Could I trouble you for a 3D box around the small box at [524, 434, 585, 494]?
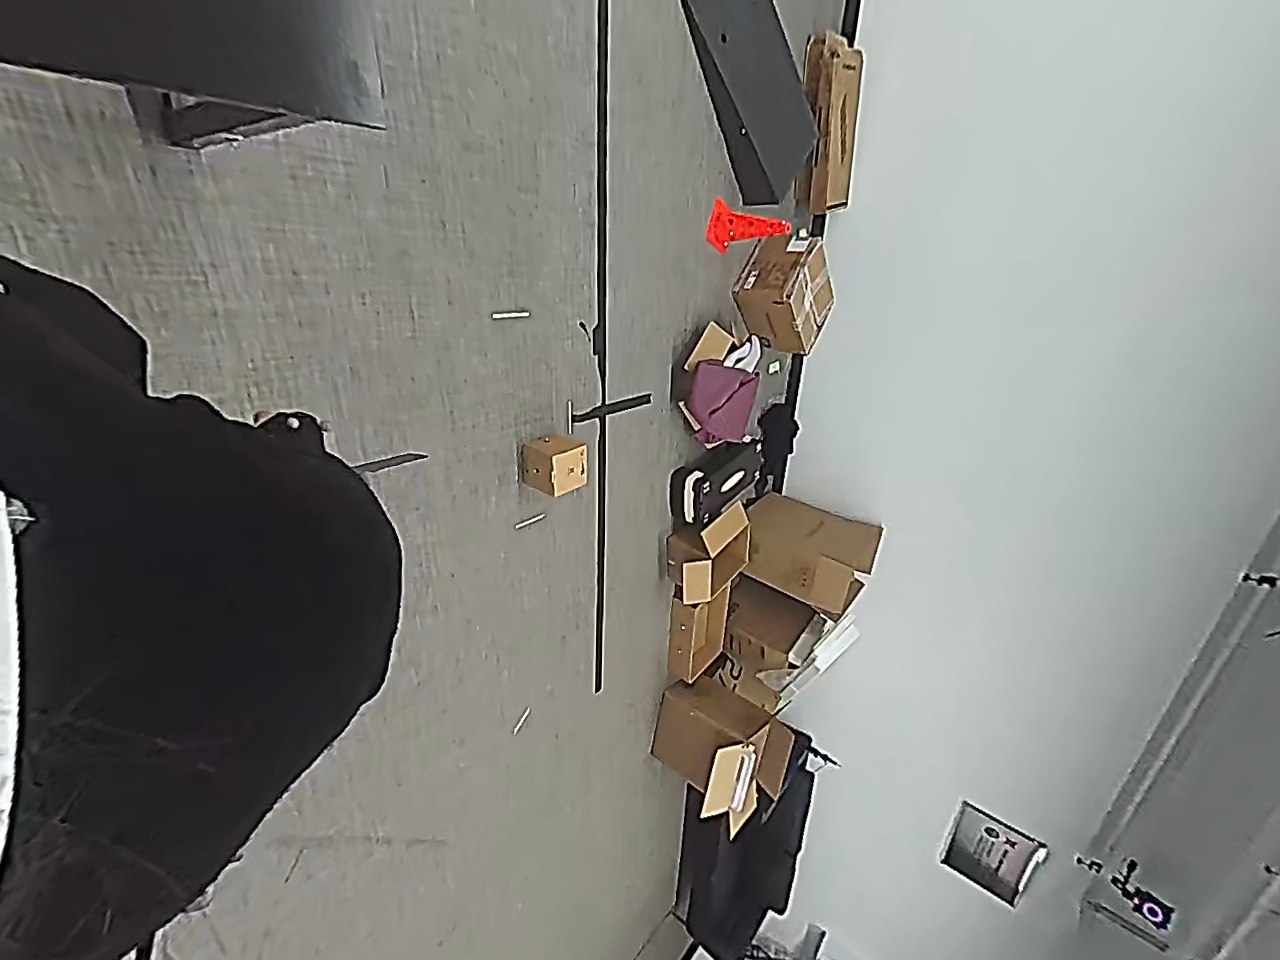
[{"bbox_3d":[-0.327,-0.067,2.057,0.179,0.176,0.168,-24,125,-45],"label":"small box"}]
